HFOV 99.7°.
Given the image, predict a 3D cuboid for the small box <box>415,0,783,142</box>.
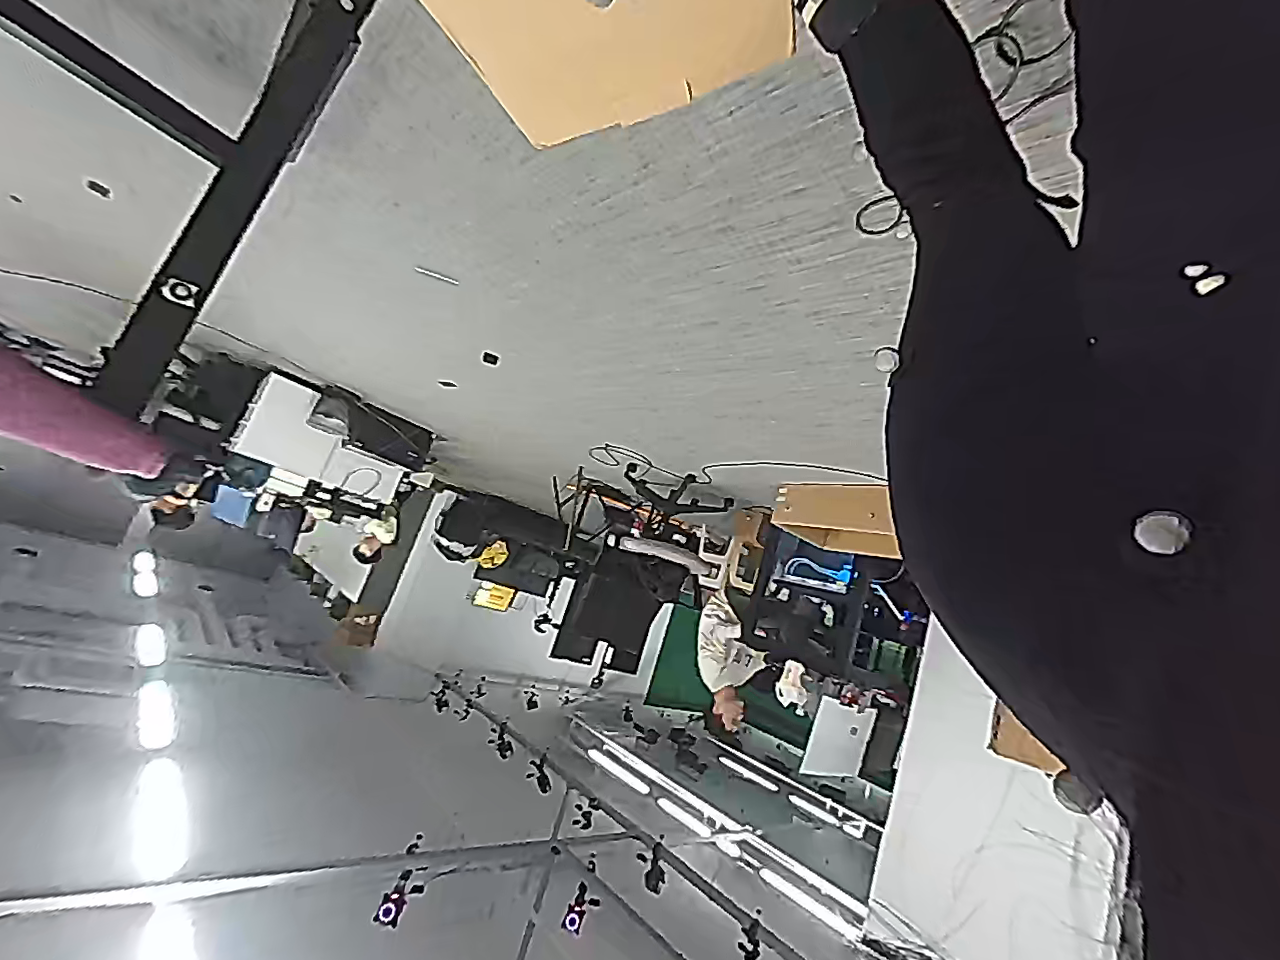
[{"bbox_3d":[-0.036,-0.310,0.246,0.168,0.179,0.176,-7,176,20],"label":"small box"}]
